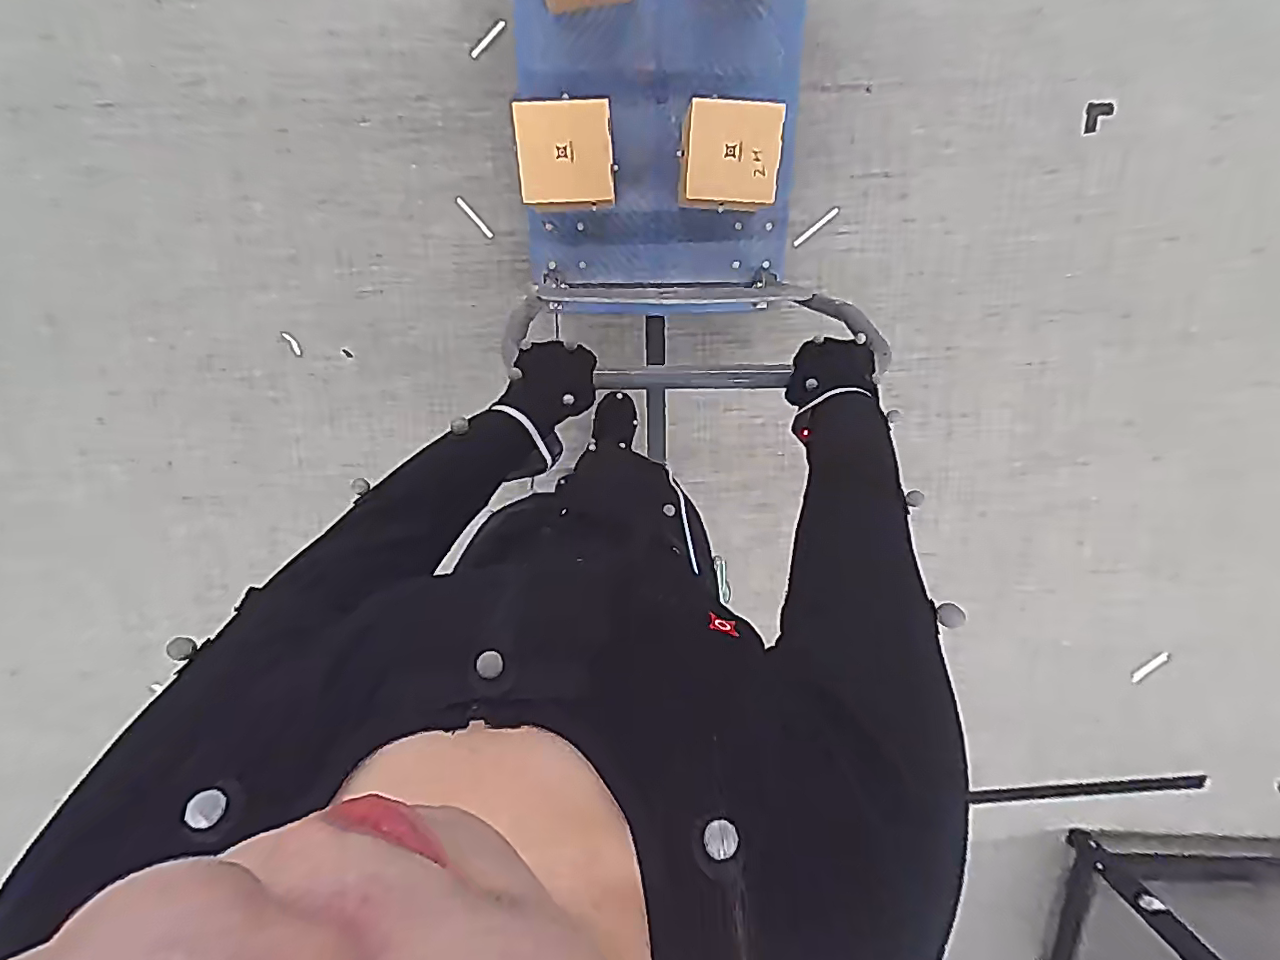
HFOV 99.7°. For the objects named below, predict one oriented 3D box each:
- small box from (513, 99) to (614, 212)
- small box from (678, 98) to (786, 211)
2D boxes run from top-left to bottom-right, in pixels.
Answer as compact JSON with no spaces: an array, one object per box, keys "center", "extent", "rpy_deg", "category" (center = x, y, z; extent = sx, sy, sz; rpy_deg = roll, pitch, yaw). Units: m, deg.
[{"center":[-0.143,-0.632,1.070],"extent":[0.179,0.176,0.168],"rpy_deg":[-4,112,-3],"category":"small box"},{"center":[0.173,-0.639,1.081],"extent":[0.179,0.176,0.168],"rpy_deg":[2,112,-3],"category":"small box"}]
